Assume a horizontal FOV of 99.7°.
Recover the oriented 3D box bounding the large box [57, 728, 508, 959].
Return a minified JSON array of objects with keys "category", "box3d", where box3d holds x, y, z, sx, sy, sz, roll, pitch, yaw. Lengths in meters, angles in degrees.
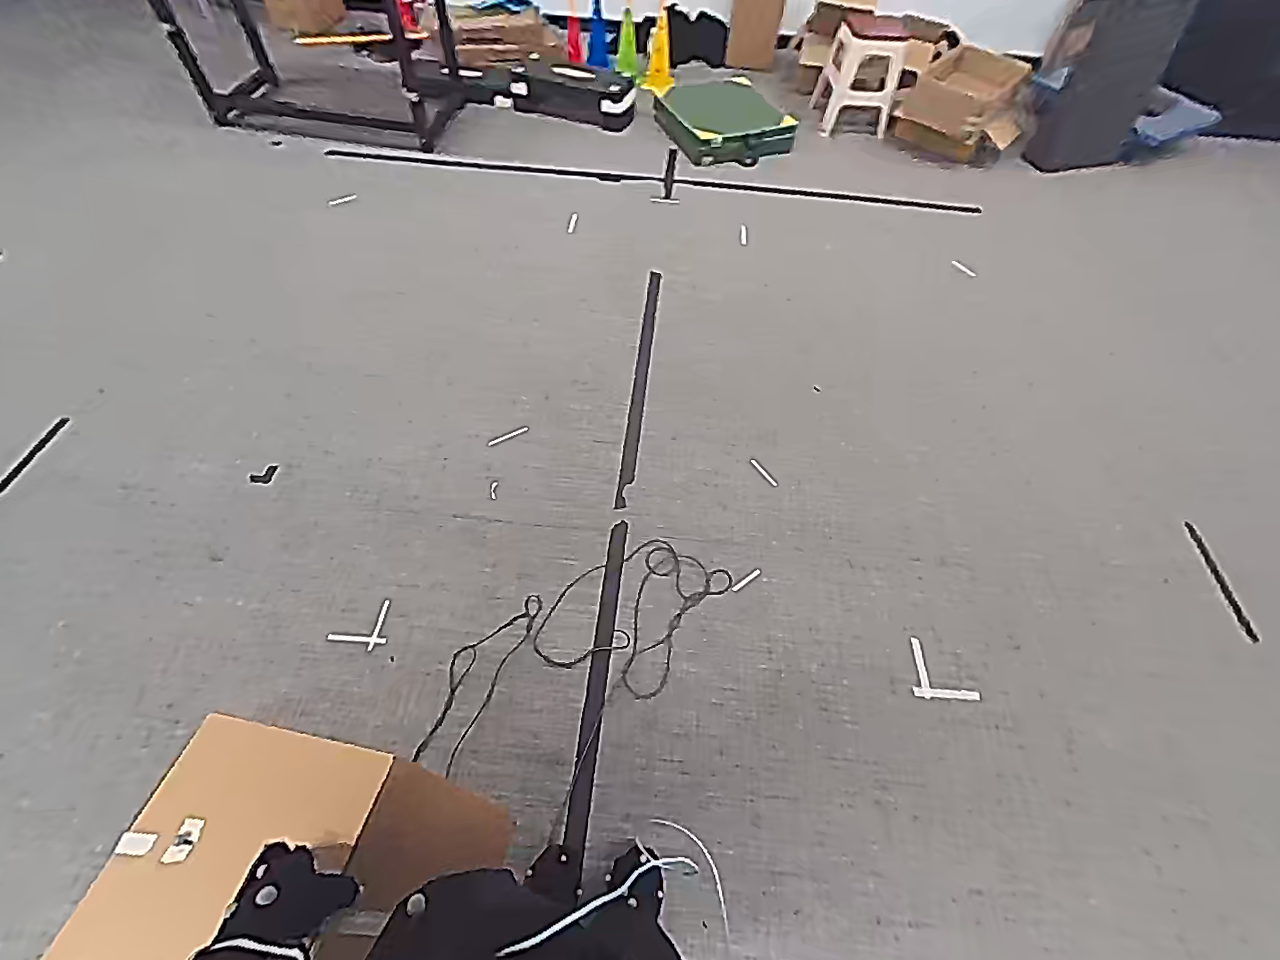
[{"category":"large box","box3d":[-0.446,0.580,0.759,0.320,0.408,0.320,4,52,17]}]
